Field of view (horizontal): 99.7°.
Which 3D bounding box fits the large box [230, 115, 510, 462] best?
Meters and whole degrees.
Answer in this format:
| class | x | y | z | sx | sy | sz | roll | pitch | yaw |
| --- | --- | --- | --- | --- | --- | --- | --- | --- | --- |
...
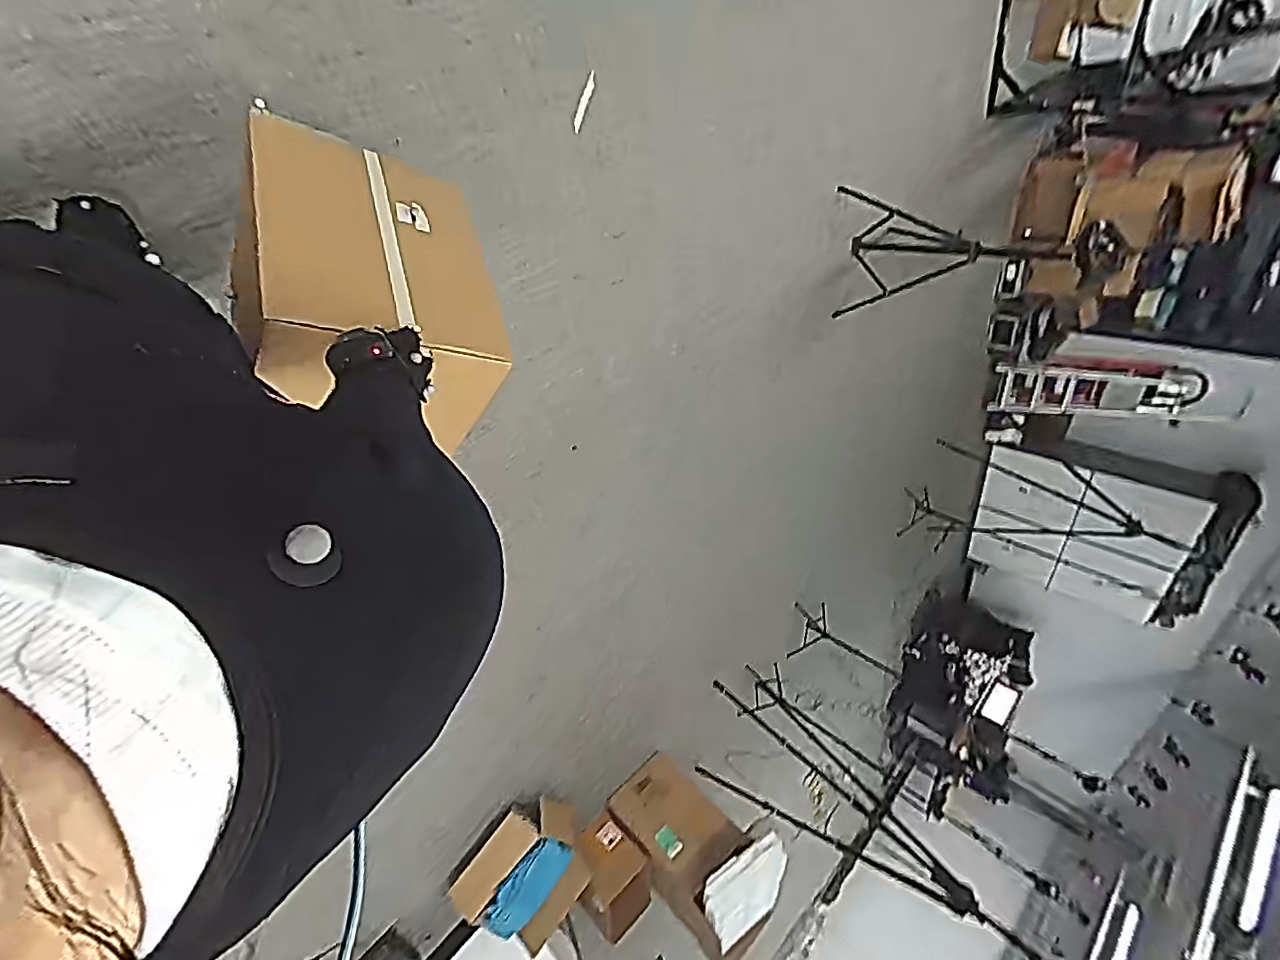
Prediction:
| class | x | y | z | sx | sy | sz | roll | pitch | yaw |
| --- | --- | --- | --- | --- | --- | --- | --- | --- | --- |
| large box | -0.463 | -0.275 | 0.890 | 0.320 | 0.408 | 0.320 | 0 | 149 | -43 |
